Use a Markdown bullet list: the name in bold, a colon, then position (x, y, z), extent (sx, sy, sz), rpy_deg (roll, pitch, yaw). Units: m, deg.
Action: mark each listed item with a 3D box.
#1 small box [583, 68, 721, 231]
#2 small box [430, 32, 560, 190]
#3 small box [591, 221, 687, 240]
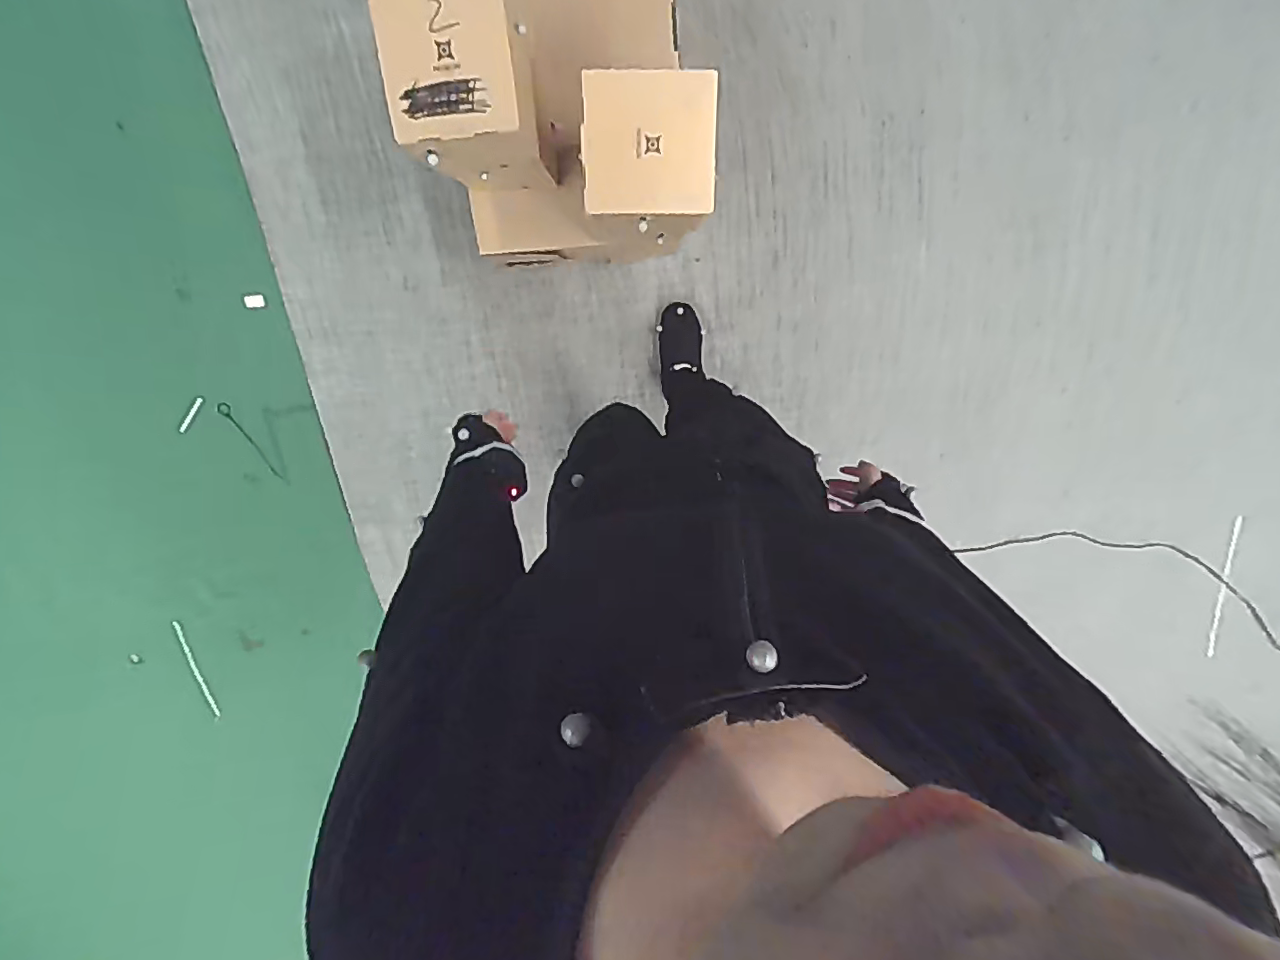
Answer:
- **small box**: position (0.013, -0.458, 0.772), extent (0.179, 0.176, 0.168), rpy_deg (0, 108, 0)
- **small box**: position (-0.230, -0.601, 0.900), extent (0.168, 0.176, 0.179), rpy_deg (-1, 106, 2)
- **small box**: position (0.002, -0.514, 0.925), extent (0.168, 0.176, 0.179), rpy_deg (-1, 107, -1)
